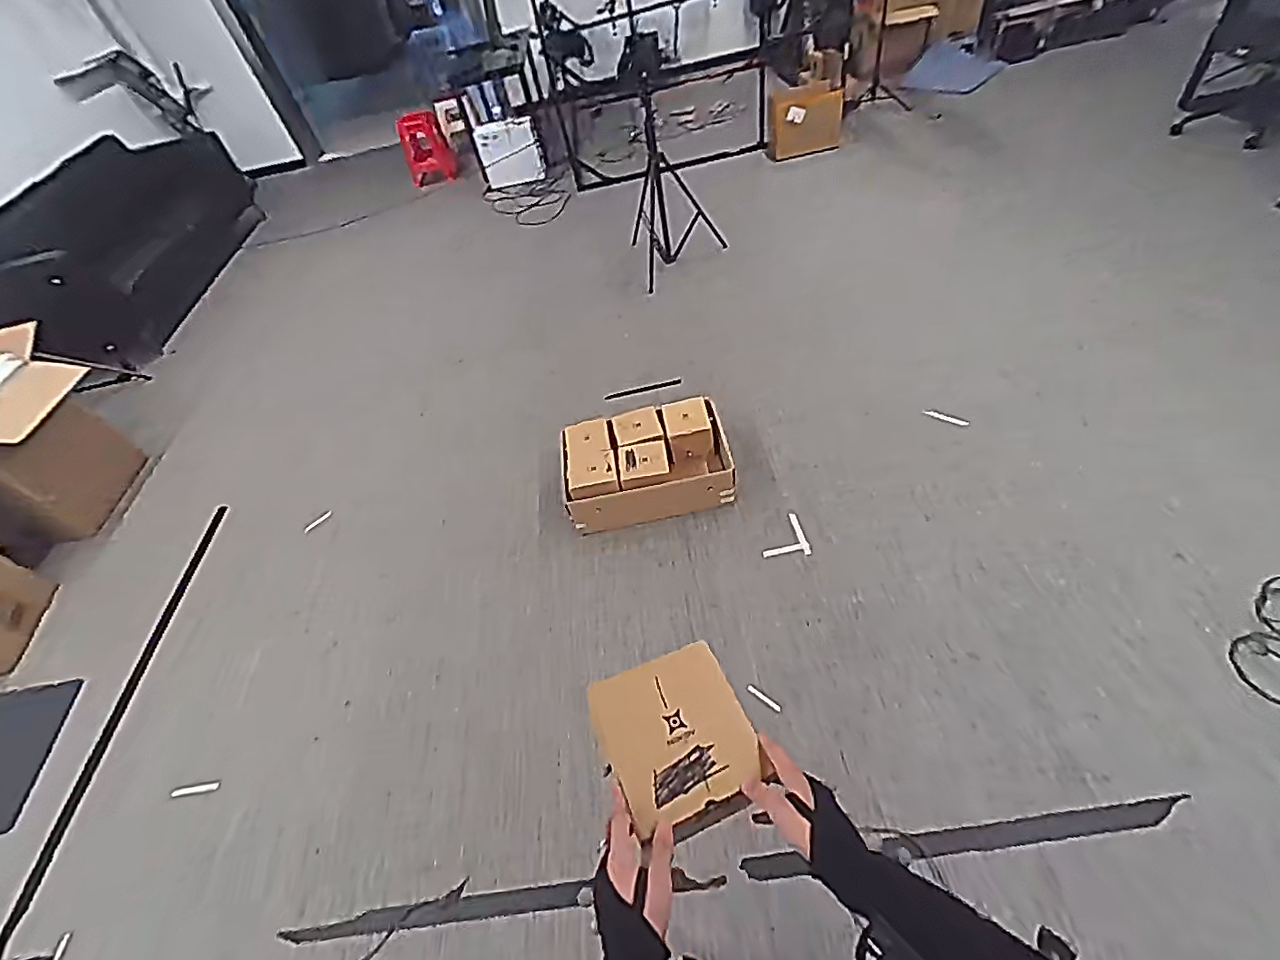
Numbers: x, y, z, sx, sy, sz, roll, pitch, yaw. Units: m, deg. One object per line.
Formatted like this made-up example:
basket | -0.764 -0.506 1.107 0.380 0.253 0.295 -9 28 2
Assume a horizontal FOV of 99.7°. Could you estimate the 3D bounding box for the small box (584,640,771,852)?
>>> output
small box | 0.040 0.340 0.683 0.168 0.176 0.179 -18 51 -15
